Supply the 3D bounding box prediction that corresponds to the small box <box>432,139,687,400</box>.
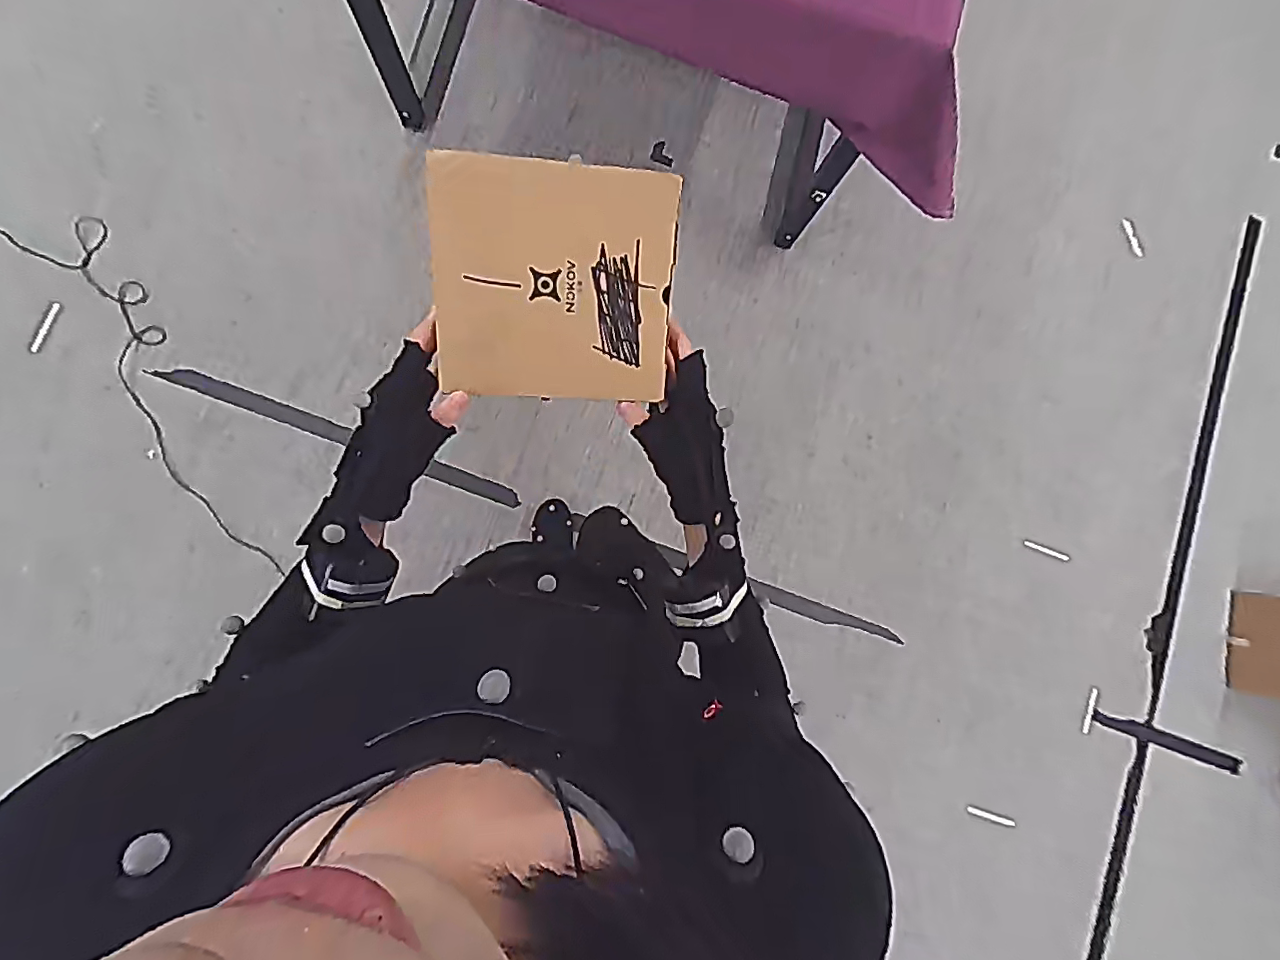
[{"bbox_3d":[-0.070,-0.169,0.467,0.179,0.176,0.168,2,108,-9],"label":"small box"}]
